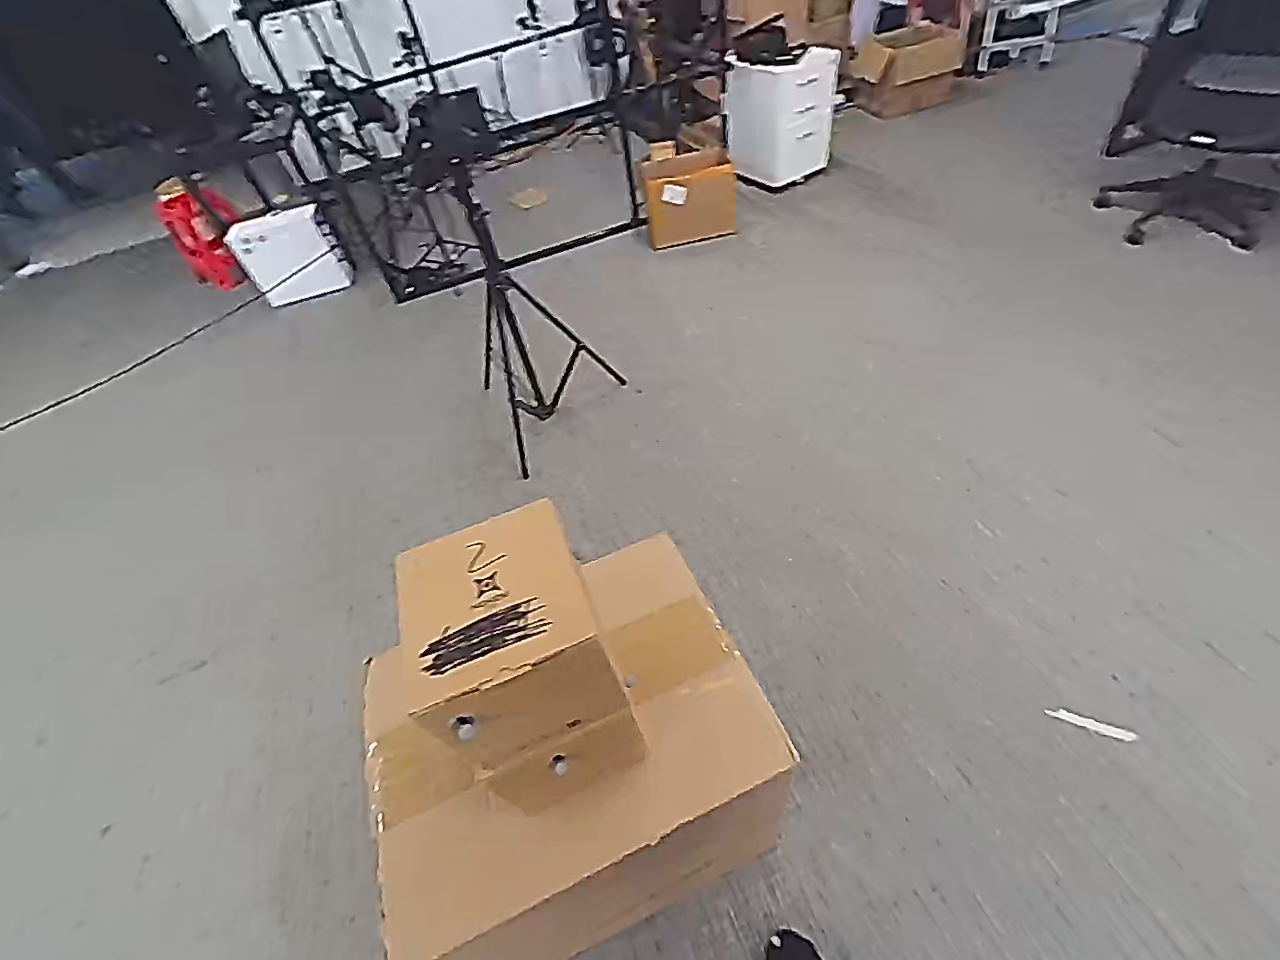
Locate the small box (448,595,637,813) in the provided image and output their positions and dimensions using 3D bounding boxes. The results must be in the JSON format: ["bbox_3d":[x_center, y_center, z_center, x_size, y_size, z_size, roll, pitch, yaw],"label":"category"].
[{"bbox_3d":[-0.112,0.279,0.672,0.179,0.176,0.168,-23,49,-9],"label":"small box"}]
